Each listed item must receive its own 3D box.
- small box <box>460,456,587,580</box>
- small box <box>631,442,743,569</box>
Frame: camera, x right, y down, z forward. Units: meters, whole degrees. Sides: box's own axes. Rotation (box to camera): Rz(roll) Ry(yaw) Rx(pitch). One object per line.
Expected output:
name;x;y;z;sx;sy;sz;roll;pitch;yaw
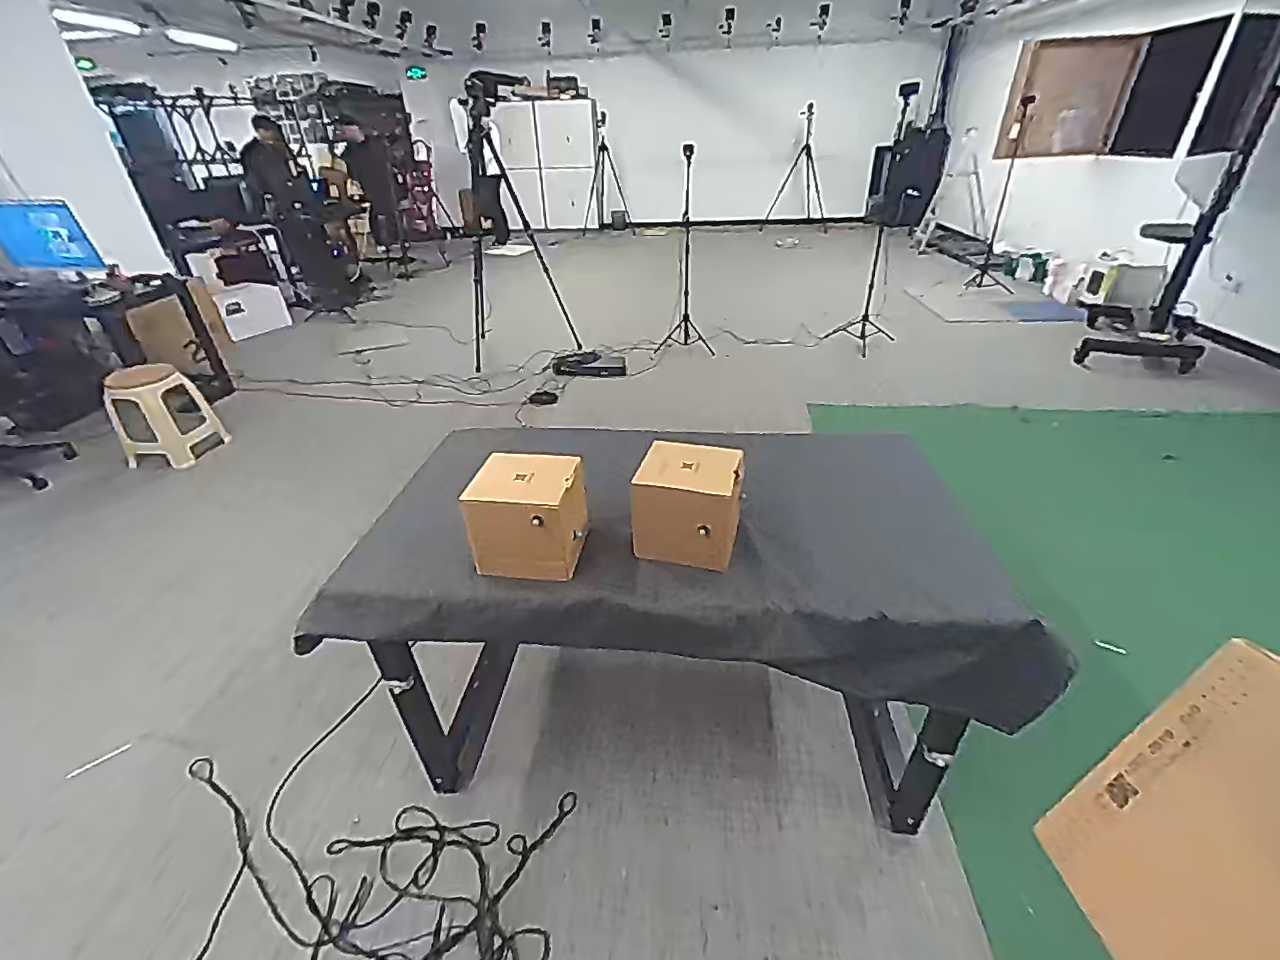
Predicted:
small box;-0.203;0.068;0.999;0.179;0.176;0.168;3;31;7
small box;0.092;0.047;1.013;0.179;0.176;0.168;6;32;15
